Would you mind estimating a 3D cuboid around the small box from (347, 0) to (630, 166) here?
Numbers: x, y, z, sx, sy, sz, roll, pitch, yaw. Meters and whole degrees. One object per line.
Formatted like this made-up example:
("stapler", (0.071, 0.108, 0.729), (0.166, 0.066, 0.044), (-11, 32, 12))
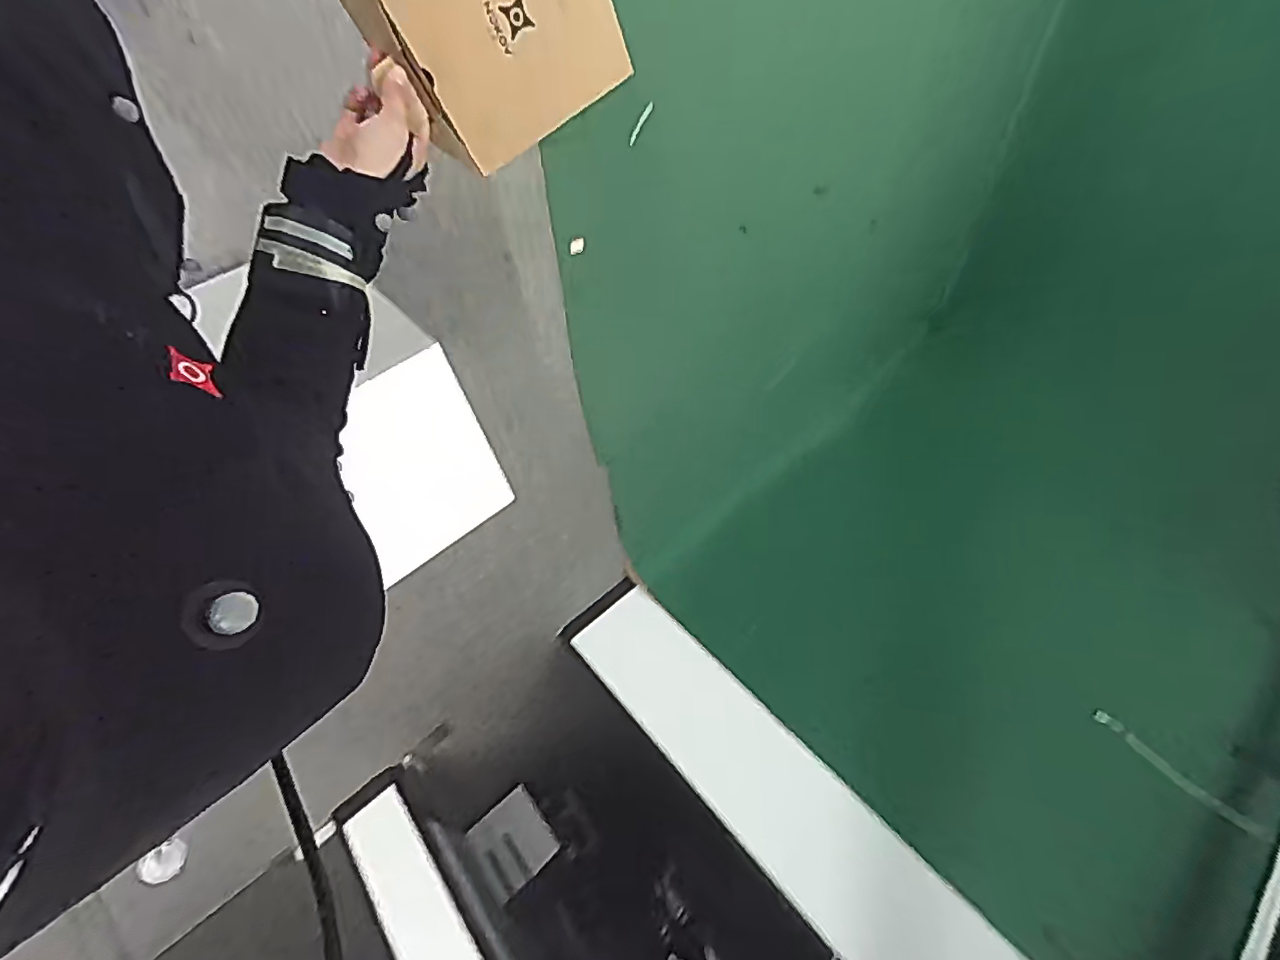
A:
("small box", (-0.144, -0.418, 0.472), (0.179, 0.176, 0.168), (-40, 144, -4))
